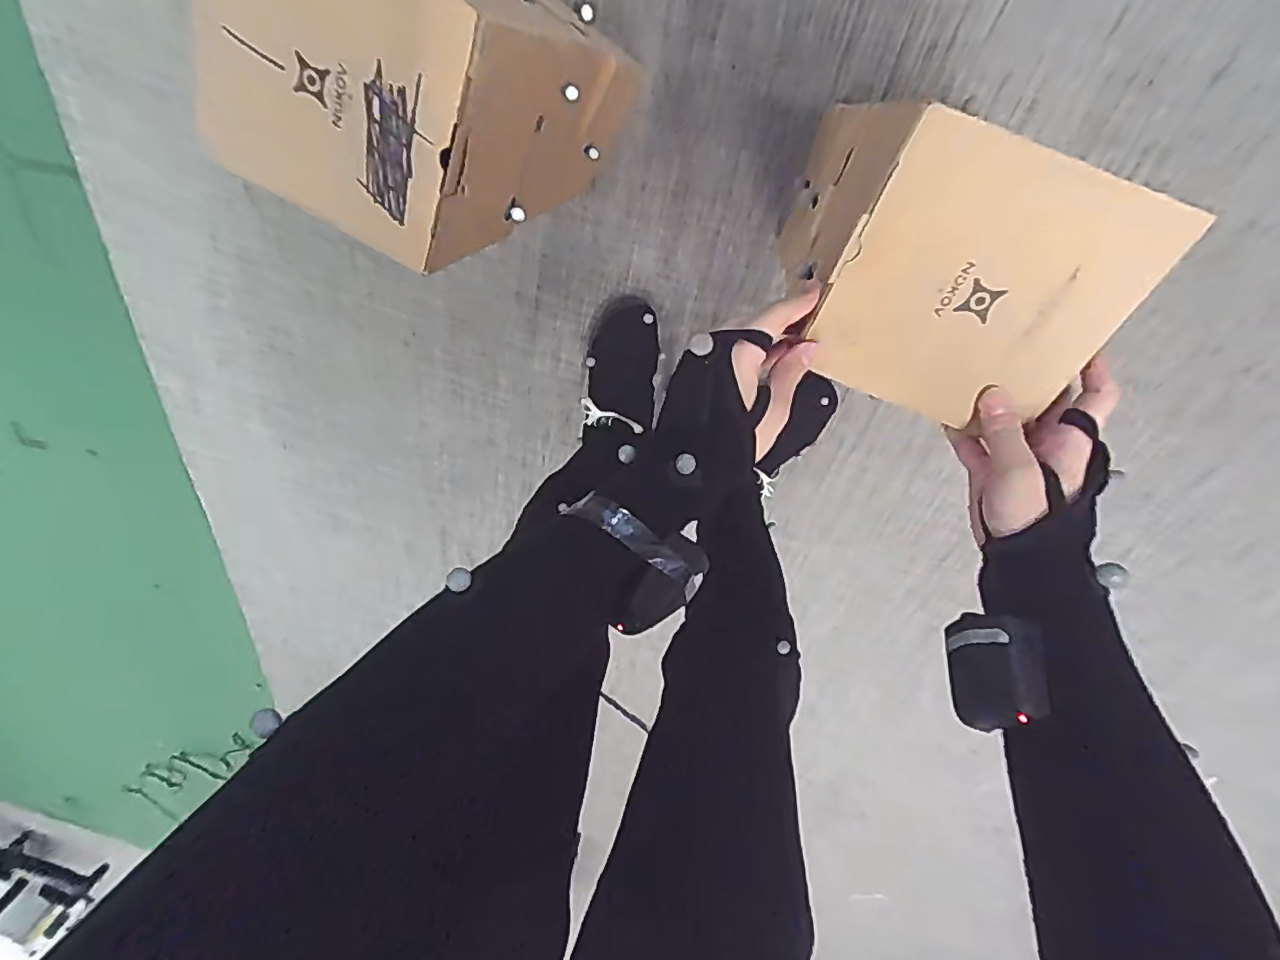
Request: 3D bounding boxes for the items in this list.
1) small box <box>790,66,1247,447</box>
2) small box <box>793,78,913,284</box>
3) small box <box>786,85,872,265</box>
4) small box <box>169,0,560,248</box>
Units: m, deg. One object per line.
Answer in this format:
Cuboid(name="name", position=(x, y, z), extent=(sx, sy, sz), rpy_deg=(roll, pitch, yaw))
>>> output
Cuboid(name="small box", position=(0.222, -0.158, 0.384), extent=(0.179, 0.176, 0.168), rpy_deg=(23, 127, -2))
Cuboid(name="small box", position=(0.259, -0.252, 0.512), extent=(0.179, 0.176, 0.168), rpy_deg=(20, 127, 2))
Cuboid(name="small box", position=(0.287, -0.343, 0.645), extent=(0.168, 0.176, 0.179), rpy_deg=(18, 127, 2))
Cuboid(name="small box", position=(-0.180, -0.301, 0.384), extent=(0.179, 0.176, 0.168), rpy_deg=(30, 126, -6))
